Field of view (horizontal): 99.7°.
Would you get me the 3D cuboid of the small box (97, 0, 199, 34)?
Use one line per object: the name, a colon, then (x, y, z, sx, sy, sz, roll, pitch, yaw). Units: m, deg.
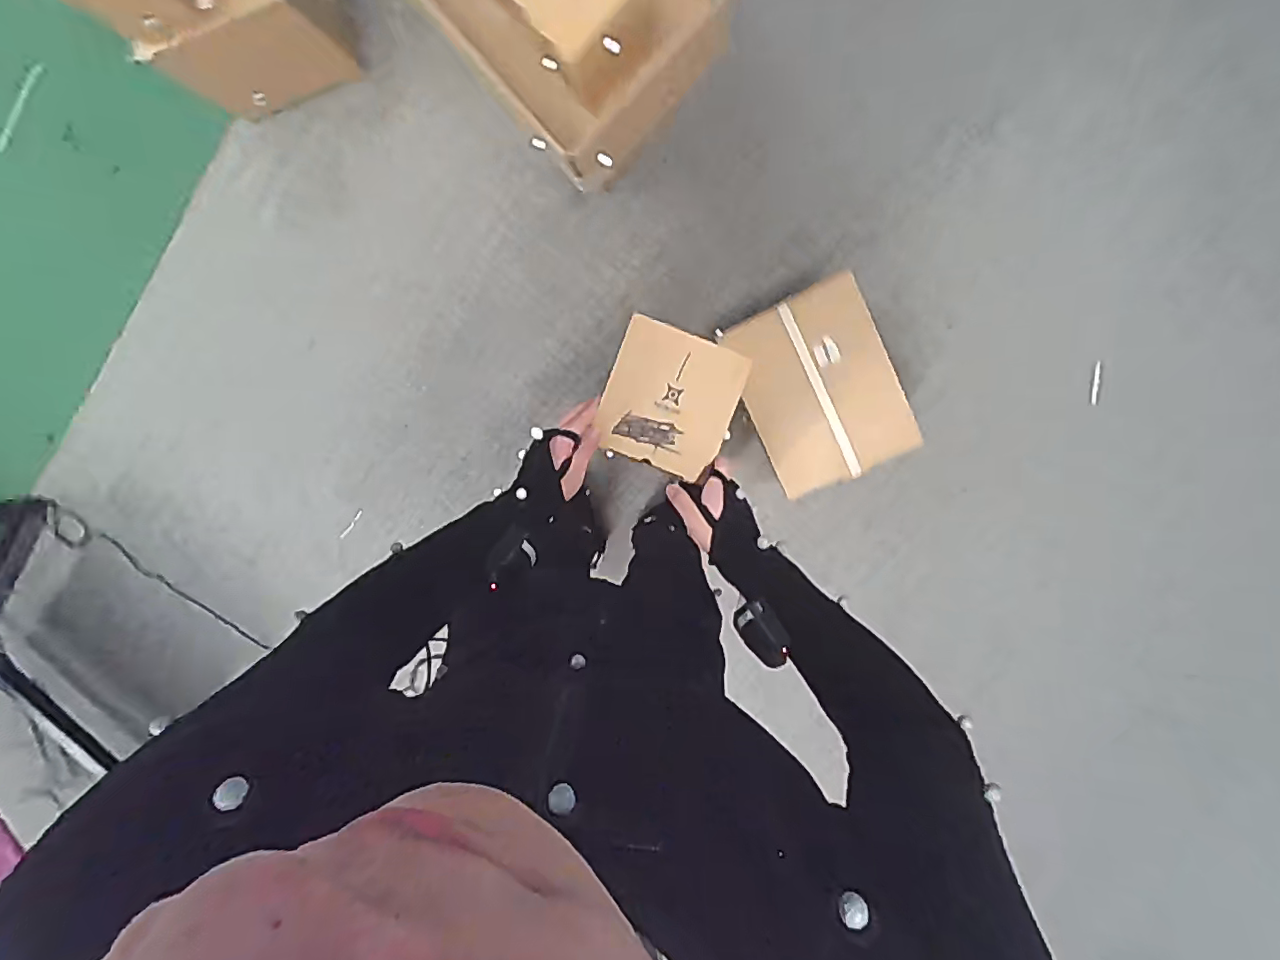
small box: (-1.111, -1.125, 1.160, 0.168, 0.176, 0.179, -13, 98, 10)

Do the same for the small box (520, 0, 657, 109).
small box: (-0.085, -0.814, 0.947, 0.179, 0.176, 0.168, -40, 91, 13)

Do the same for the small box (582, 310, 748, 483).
small box: (0.029, -0.109, 0.756, 0.168, 0.176, 0.179, 19, 93, -4)

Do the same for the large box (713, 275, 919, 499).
large box: (0.406, -0.213, 1.320, 0.320, 0.320, 0.408, -24, 93, 11)
